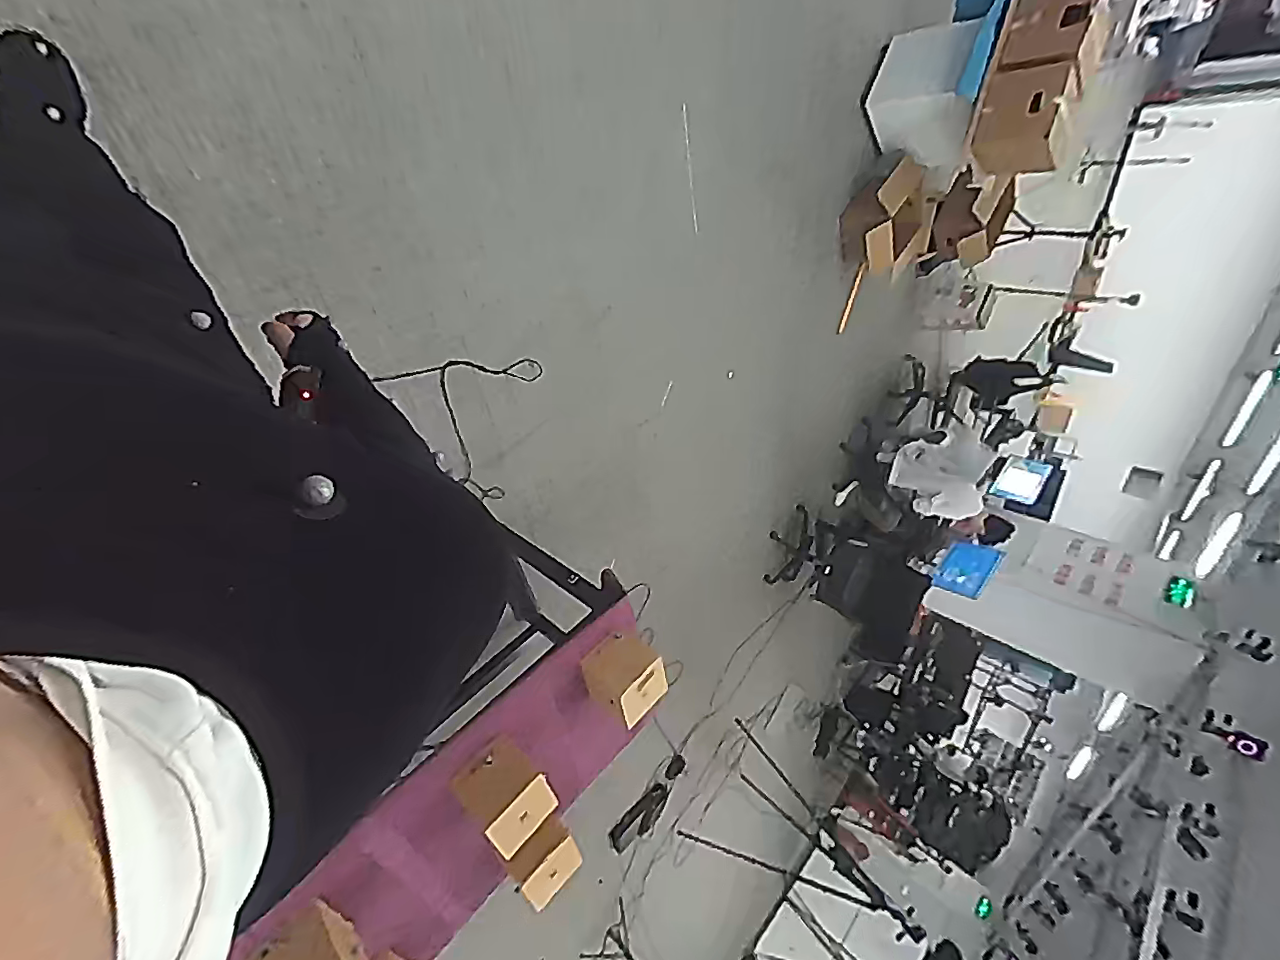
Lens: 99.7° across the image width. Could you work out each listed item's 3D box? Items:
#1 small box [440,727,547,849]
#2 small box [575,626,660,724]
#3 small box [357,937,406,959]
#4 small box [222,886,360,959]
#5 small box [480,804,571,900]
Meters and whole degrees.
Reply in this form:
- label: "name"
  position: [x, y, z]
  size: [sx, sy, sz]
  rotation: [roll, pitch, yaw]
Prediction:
- label: "small box"
  position: [-0.360, 0.751, 1.334]
  size: [0.168, 0.176, 0.179]
  rotation: [-37, 135, -31]
- label: "small box"
  position: [-0.065, 0.545, 1.546]
  size: [0.168, 0.176, 0.179]
  rotation: [-36, 135, -30]
- label: "small box"
  position: [-0.638, 1.251, 1.291]
  size: [0.168, 0.176, 0.179]
  rotation: [-39, 134, -31]
- label: "small box"
  position: [-0.689, 0.968, 1.082]
  size: [0.168, 0.176, 0.179]
  rotation: [-36, 133, -32]
- label: "small box"
  position: [-0.322, 1.016, 1.521]
  size: [0.168, 0.176, 0.179]
  rotation: [-34, 130, -31]
